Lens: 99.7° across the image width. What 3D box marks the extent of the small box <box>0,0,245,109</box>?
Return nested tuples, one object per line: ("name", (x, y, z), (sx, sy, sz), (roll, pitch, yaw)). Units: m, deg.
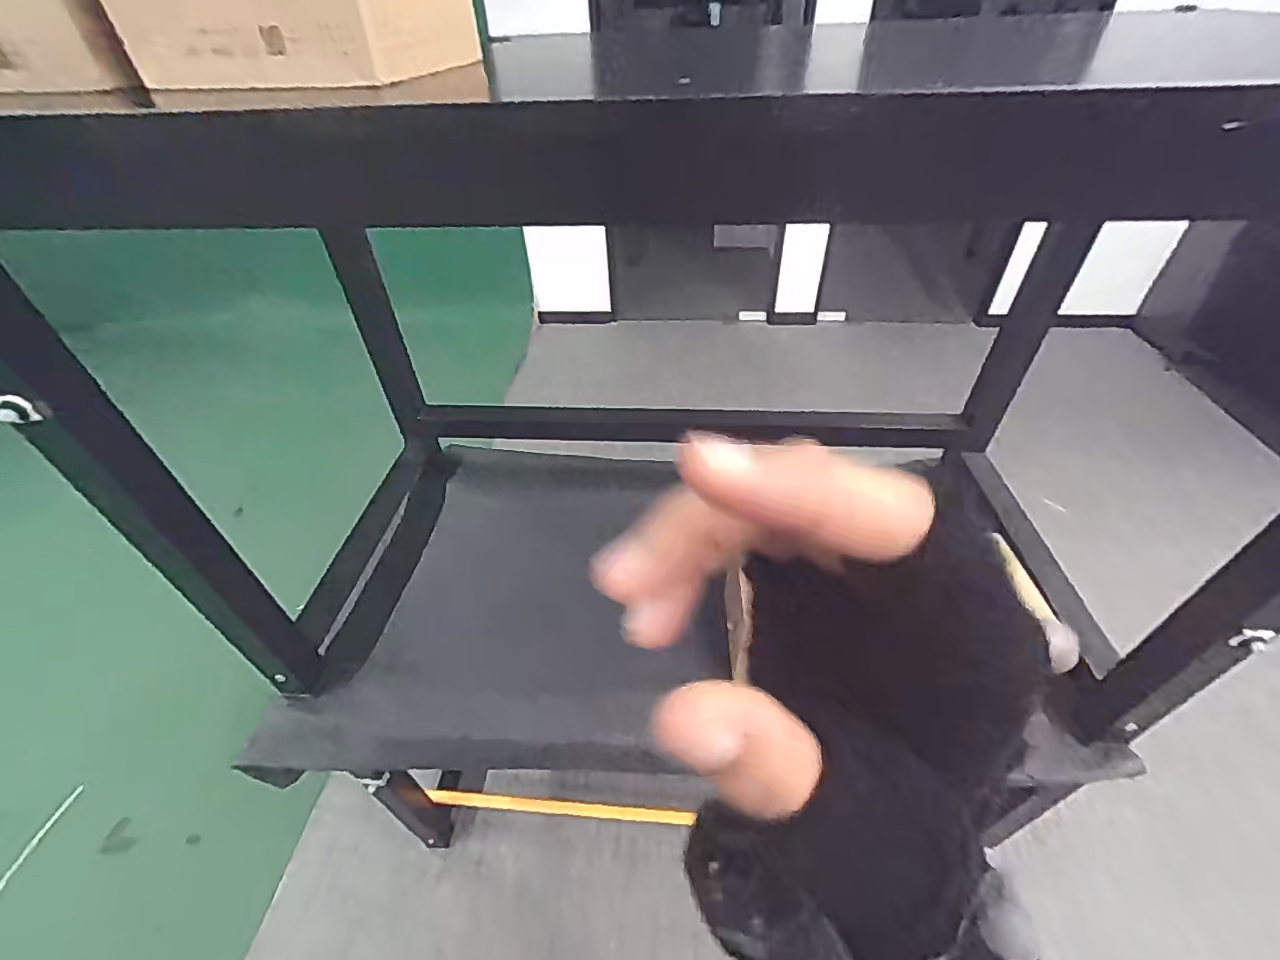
("small box", (-0.416, -0.366, 0.363), (0.168, 0.176, 0.179), (1, 44, 3))
